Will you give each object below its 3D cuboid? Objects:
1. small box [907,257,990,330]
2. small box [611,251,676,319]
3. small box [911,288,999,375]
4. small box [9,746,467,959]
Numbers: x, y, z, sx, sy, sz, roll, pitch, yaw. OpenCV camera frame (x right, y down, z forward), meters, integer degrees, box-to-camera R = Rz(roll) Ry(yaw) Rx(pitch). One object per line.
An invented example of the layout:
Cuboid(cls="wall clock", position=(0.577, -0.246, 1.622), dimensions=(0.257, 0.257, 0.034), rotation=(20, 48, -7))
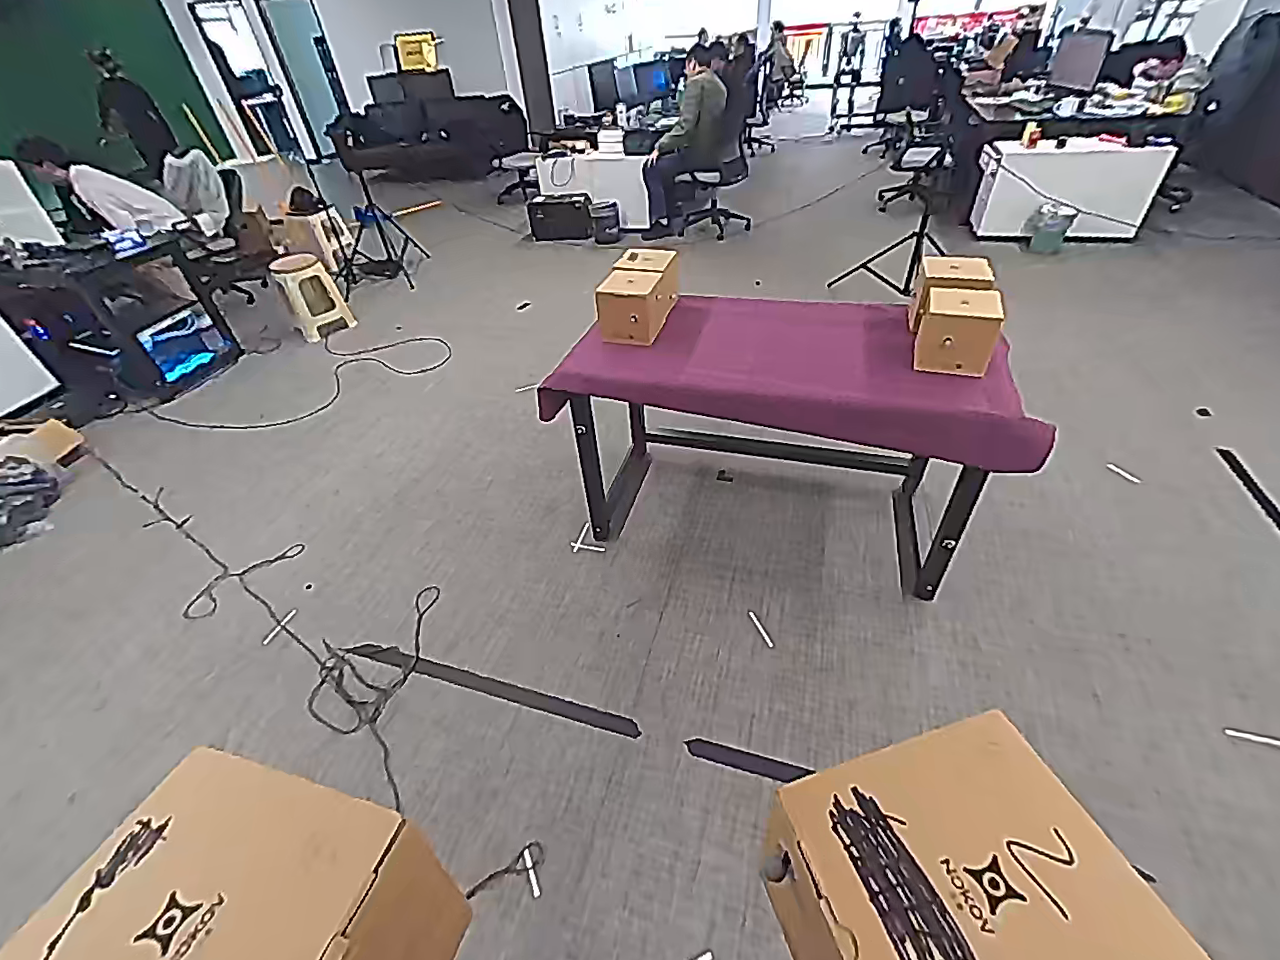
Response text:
Cuboid(cls="small box", position=(0.901, -0.545, 1.602), dimensions=(0.179, 0.176, 0.168), rotation=(10, 44, 16))
Cuboid(cls="small box", position=(0.016, -0.660, 1.832), dimensions=(0.179, 0.176, 0.168), rotation=(11, 45, 16))
Cuboid(cls="small box", position=(0.837, -0.397, 1.447), dimensions=(0.168, 0.176, 0.179), rotation=(11, 42, 20))
Cuboid(cls="small box", position=(-0.235, 0.306, 0.338), dimensions=(0.179, 0.176, 0.168), rotation=(8, 38, 15))
